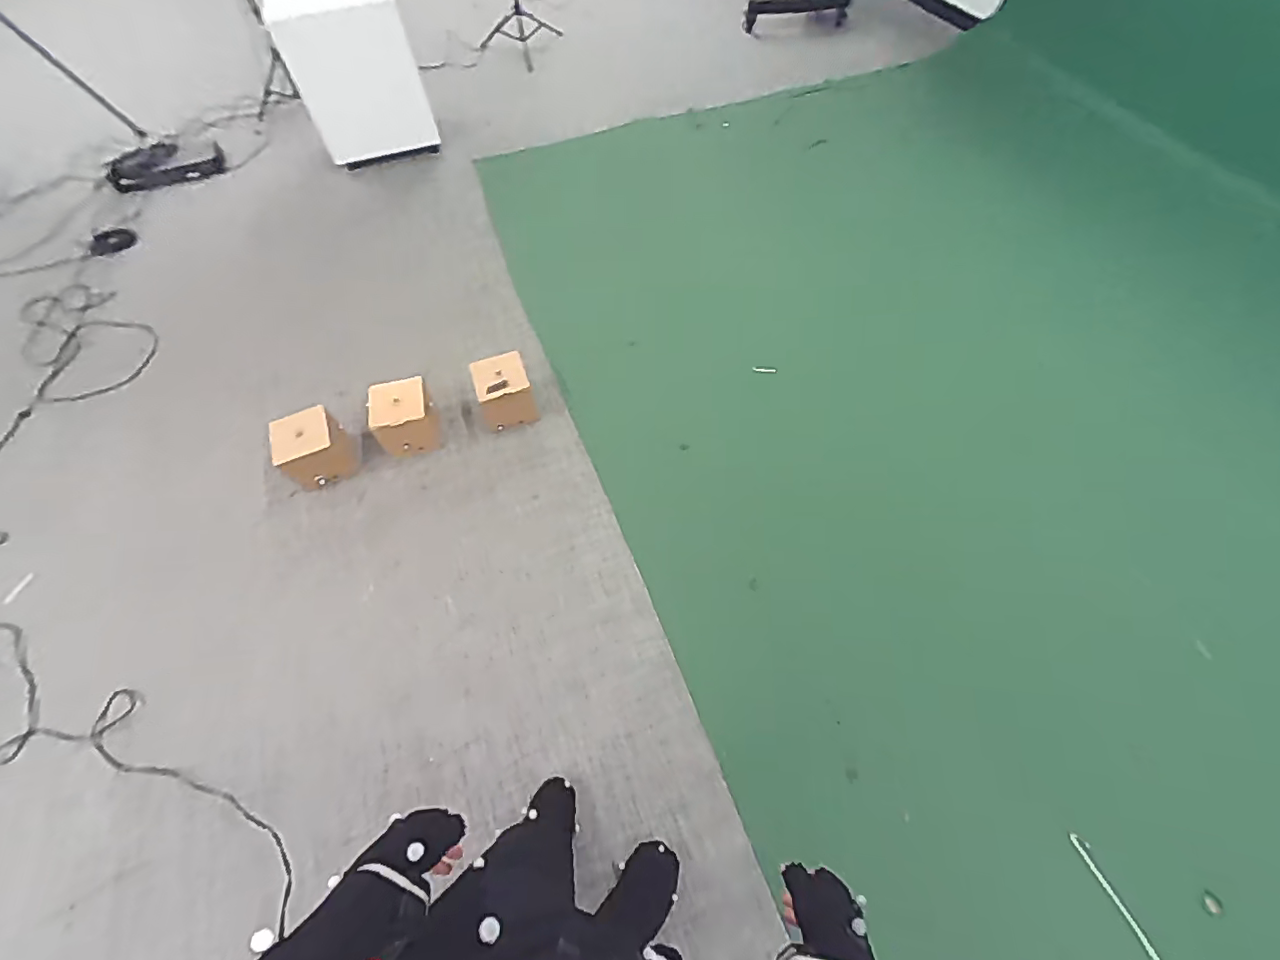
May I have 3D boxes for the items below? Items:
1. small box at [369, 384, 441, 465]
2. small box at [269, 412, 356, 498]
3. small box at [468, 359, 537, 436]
[{"bbox_3d":[-0.752,-0.176,1.736,0.168,0.176,0.179,-14,59,-7],"label":"small box"},{"bbox_3d":[-1.013,-0.075,1.679,0.168,0.176,0.179,-23,62,-10],"label":"small box"},{"bbox_3d":[-0.449,-0.264,1.783,0.168,0.176,0.179,-18,59,-10],"label":"small box"}]
